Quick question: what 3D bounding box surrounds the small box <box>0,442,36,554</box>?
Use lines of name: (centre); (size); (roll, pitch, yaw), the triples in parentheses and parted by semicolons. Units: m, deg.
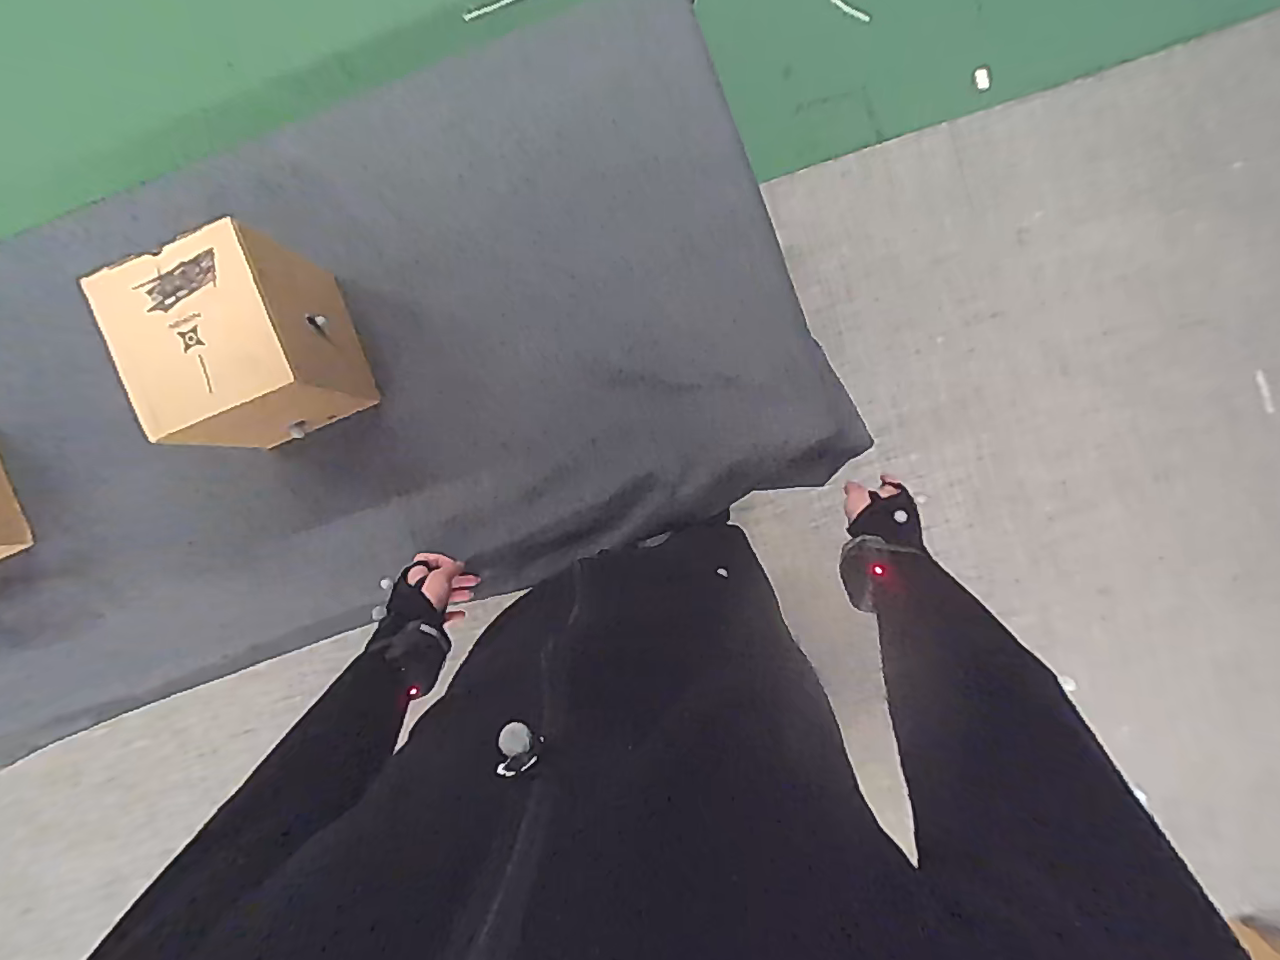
small box: (-0.899, 0.033, 0.639); (0.168, 0.176, 0.179); (-24, 91, 3)

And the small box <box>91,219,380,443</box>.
small box: (-0.435, -0.151, 0.612); (0.168, 0.176, 0.179); (-21, 91, 3)
